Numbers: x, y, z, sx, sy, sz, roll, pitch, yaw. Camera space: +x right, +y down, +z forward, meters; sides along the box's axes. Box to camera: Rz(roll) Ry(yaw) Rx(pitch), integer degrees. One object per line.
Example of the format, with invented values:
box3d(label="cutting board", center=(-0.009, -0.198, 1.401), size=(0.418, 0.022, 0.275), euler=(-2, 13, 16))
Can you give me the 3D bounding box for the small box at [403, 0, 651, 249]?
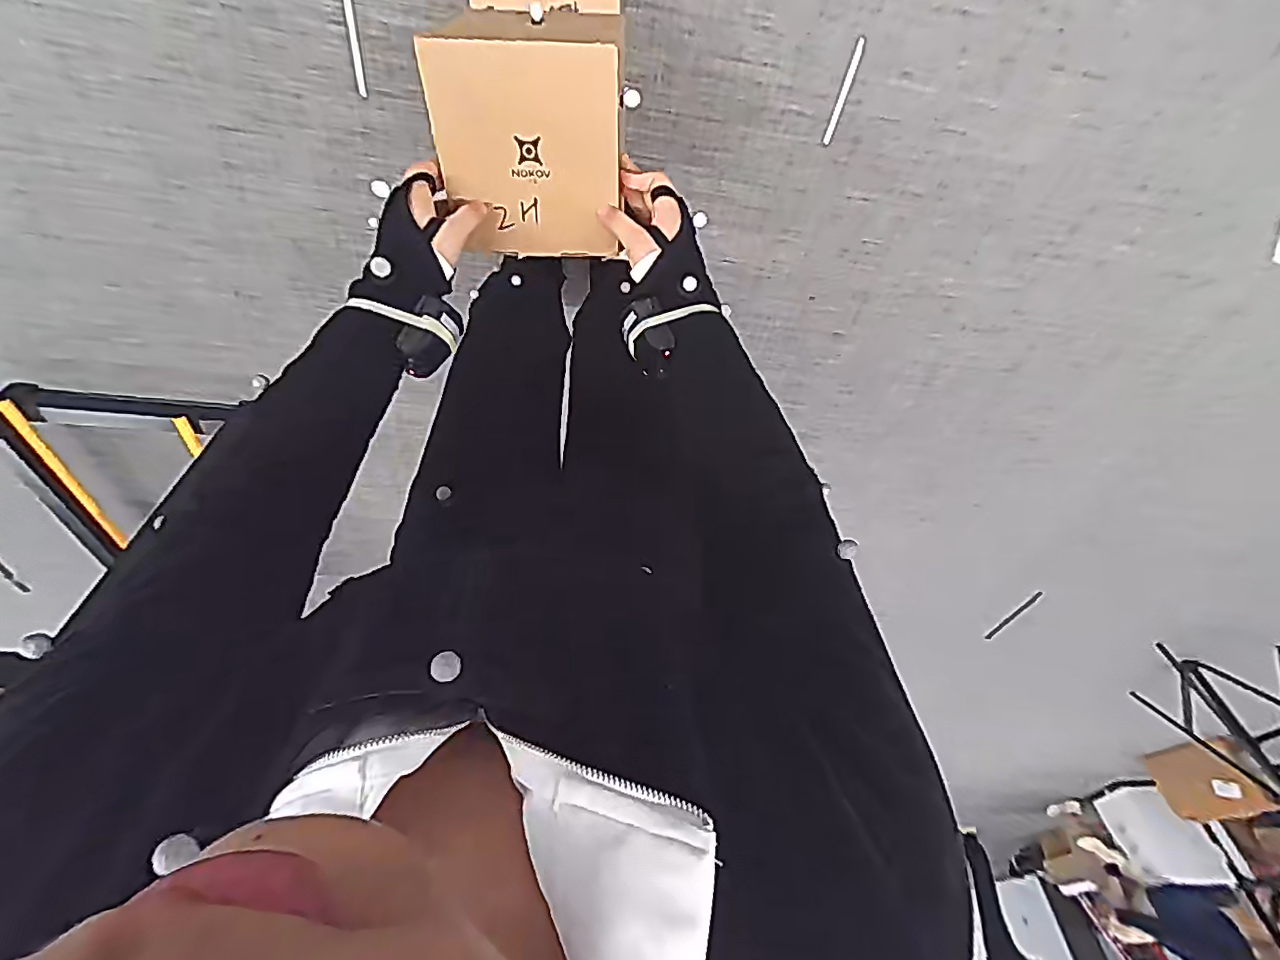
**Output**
box3d(label="small box", center=(-0.078, -0.322, 0.463), size=(0.168, 0.176, 0.179), euler=(2, 138, -1))
